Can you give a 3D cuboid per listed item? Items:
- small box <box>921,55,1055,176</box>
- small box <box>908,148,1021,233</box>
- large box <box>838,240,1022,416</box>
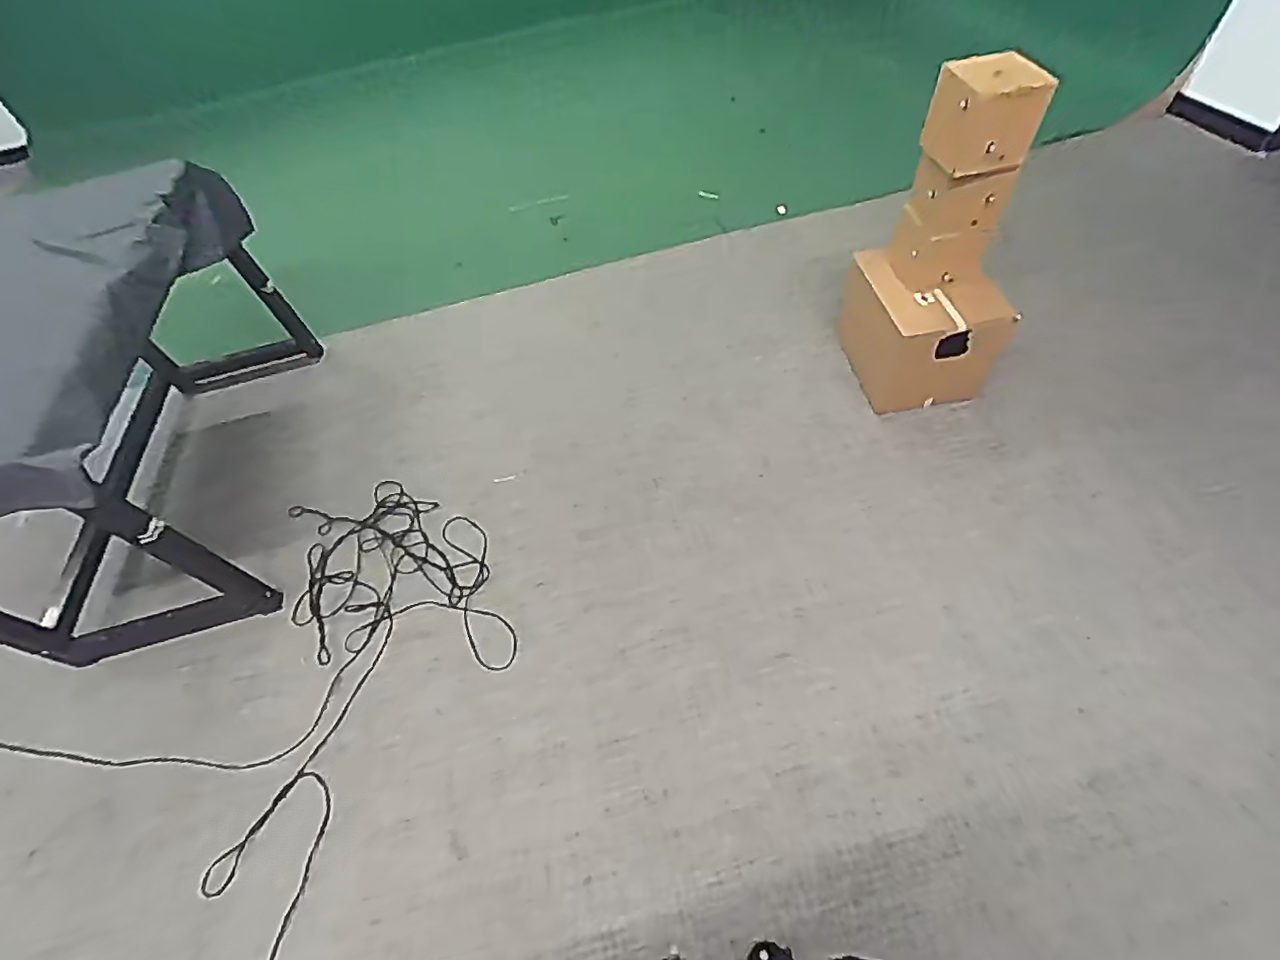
[{"bbox_3d":[0.771,-0.822,1.225,0.168,0.176,0.179,-11,55,-1],"label":"small box"},{"bbox_3d":[0.807,-0.743,1.365,0.168,0.176,0.179,-6,54,3],"label":"small box"},{"bbox_3d":[0.851,-0.466,1.664,0.320,0.320,0.408,-11,55,3],"label":"large box"}]
